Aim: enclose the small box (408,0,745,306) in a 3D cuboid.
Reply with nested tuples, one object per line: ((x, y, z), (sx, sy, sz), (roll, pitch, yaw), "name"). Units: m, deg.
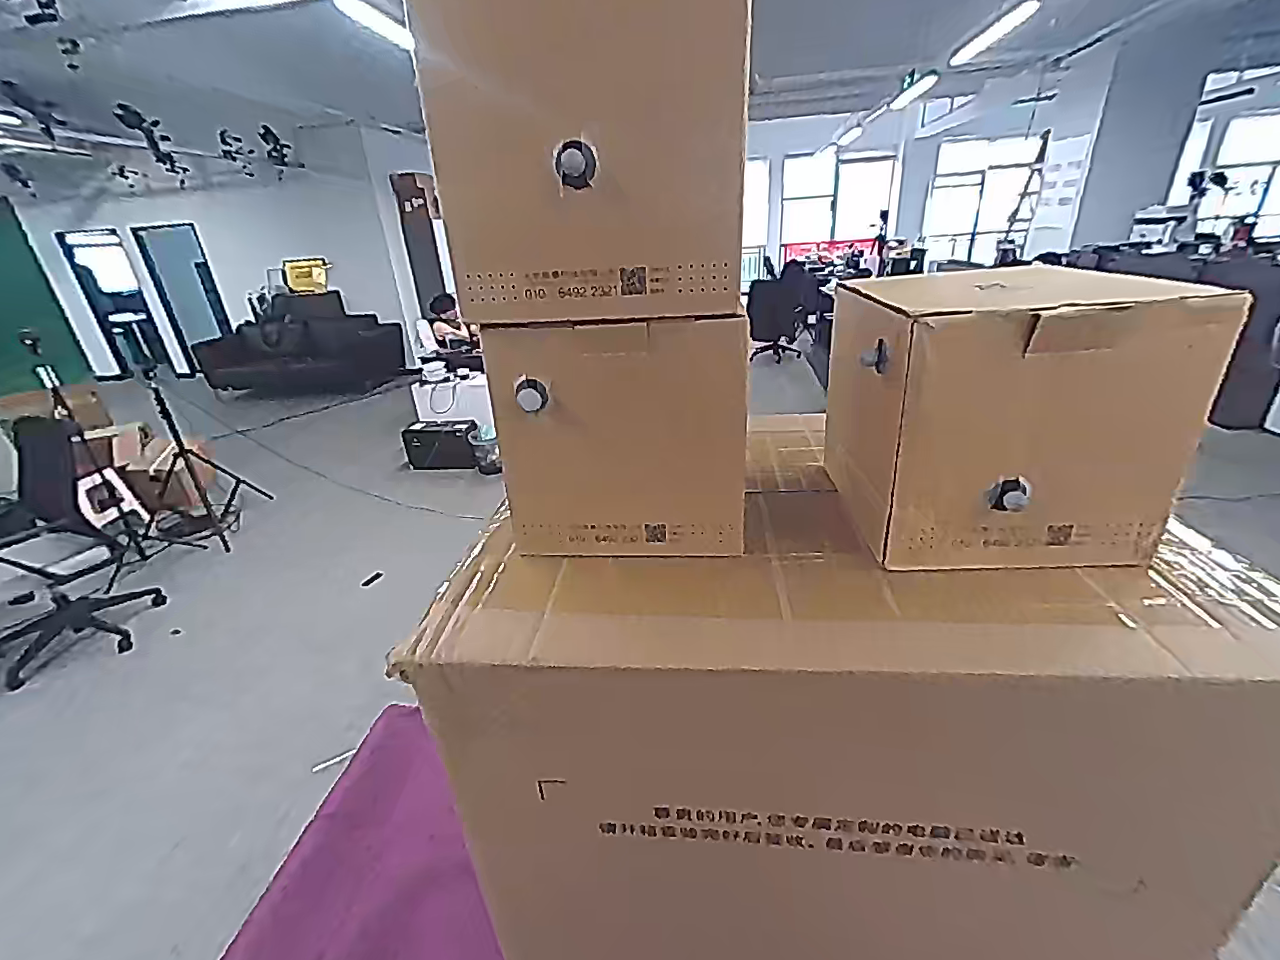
((-0.022, -0.209, 0.356), (0.168, 0.176, 0.179), (-1, 25, 3), "small box")

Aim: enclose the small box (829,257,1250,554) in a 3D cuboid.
((0.243, -0.062, 0.392), (0.168, 0.176, 0.179), (-3, 26, 5), "small box")
